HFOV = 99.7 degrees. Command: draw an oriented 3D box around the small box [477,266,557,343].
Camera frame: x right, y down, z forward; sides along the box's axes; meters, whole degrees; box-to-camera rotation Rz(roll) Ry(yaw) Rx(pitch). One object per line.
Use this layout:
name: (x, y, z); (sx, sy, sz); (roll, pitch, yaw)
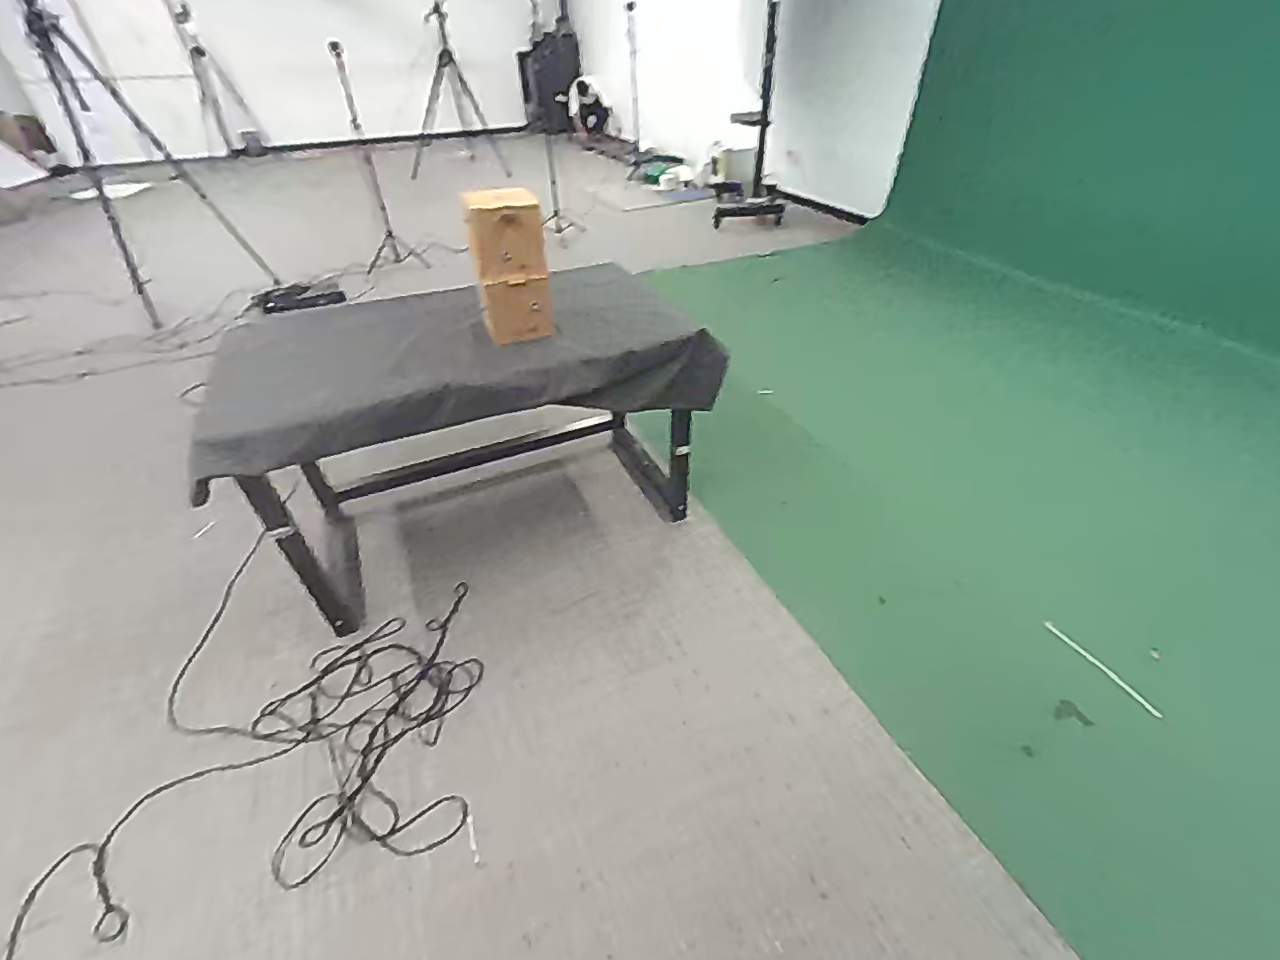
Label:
small box: (-0.328, -0.480, 1.457); (0.168, 0.176, 0.179); (-15, 40, -17)

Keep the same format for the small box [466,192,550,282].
small box: (-0.333, -0.616, 1.367); (0.168, 0.176, 0.179); (-14, 42, -17)
